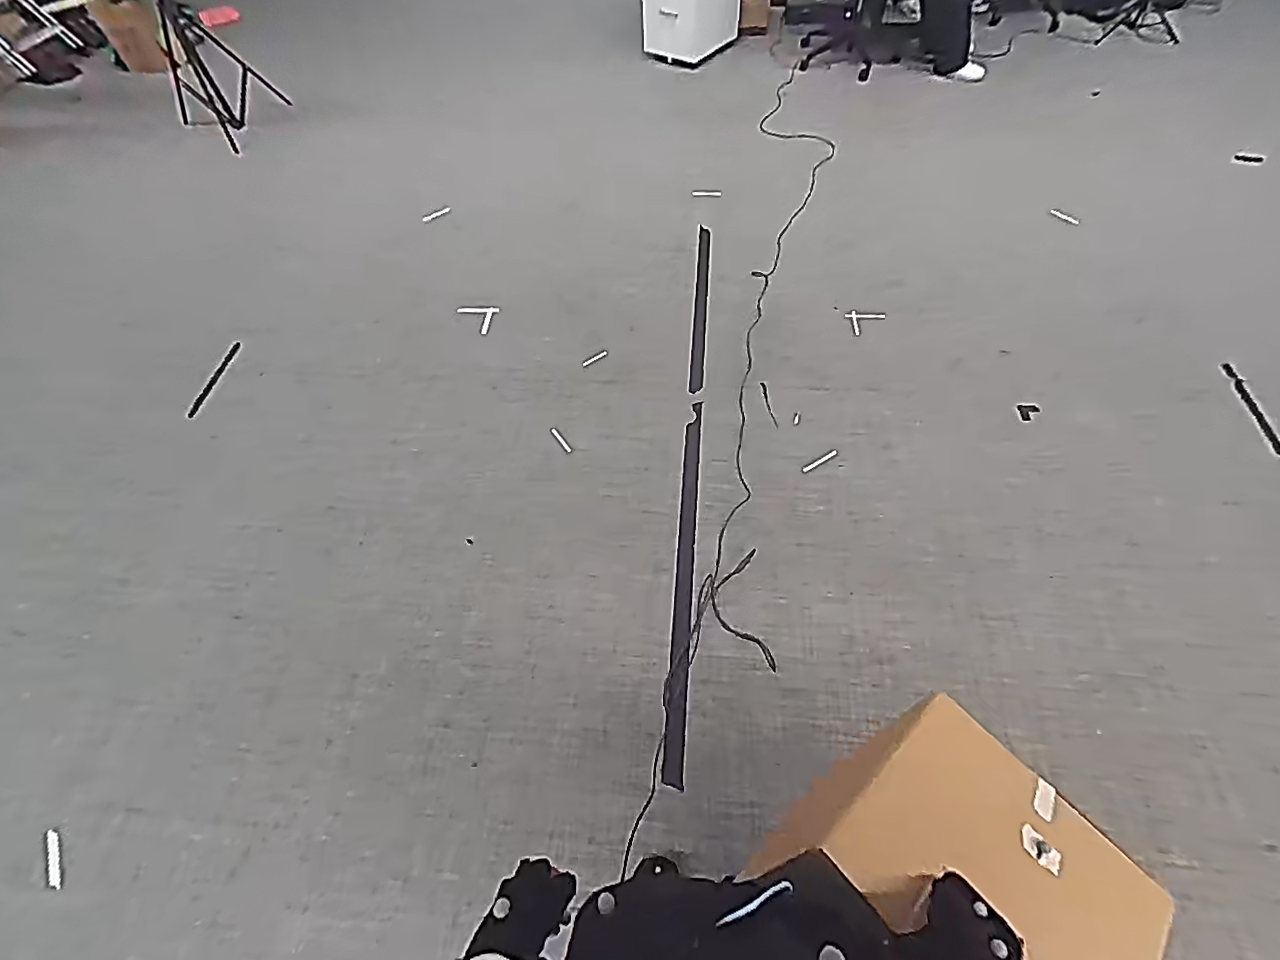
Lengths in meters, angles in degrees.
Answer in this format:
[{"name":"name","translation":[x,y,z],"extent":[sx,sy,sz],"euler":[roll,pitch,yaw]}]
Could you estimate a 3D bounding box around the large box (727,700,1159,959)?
[{"name":"large box","translation":[0.380,0.594,0.761],"extent":[0.320,0.408,0.320],"euler":[-25,56,-32]}]
